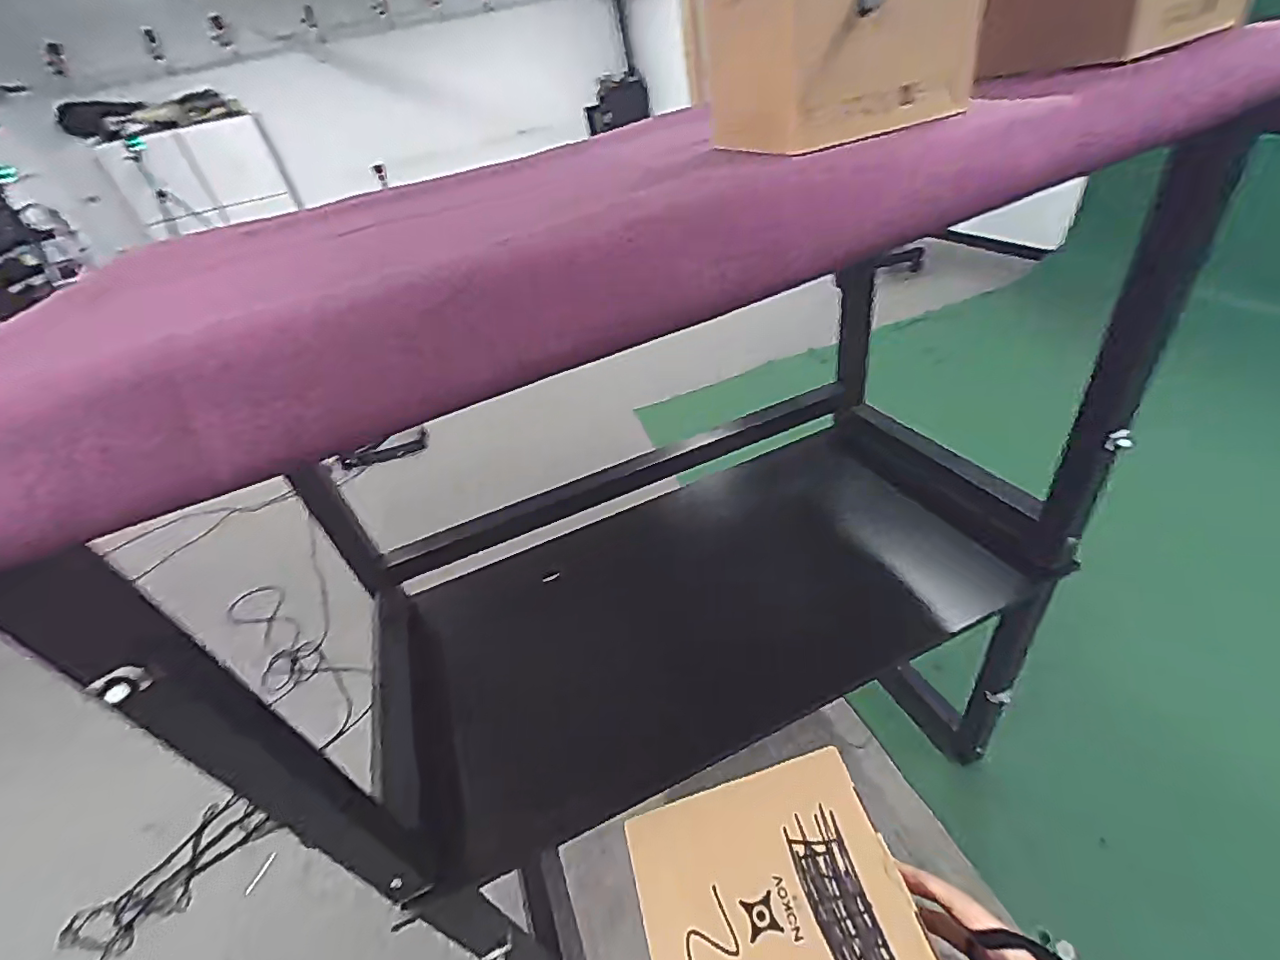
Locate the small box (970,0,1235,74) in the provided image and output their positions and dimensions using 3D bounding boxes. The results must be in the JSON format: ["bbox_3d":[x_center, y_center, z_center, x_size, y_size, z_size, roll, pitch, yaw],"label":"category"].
[{"bbox_3d":[0.474,-0.533,0.543,0.168,0.176,0.179,-22,36,-13],"label":"small box"}]

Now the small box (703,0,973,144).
[{"bbox_3d":[0.165,-0.405,0.469,0.168,0.176,0.179,-18,36,-7],"label":"small box"}]
